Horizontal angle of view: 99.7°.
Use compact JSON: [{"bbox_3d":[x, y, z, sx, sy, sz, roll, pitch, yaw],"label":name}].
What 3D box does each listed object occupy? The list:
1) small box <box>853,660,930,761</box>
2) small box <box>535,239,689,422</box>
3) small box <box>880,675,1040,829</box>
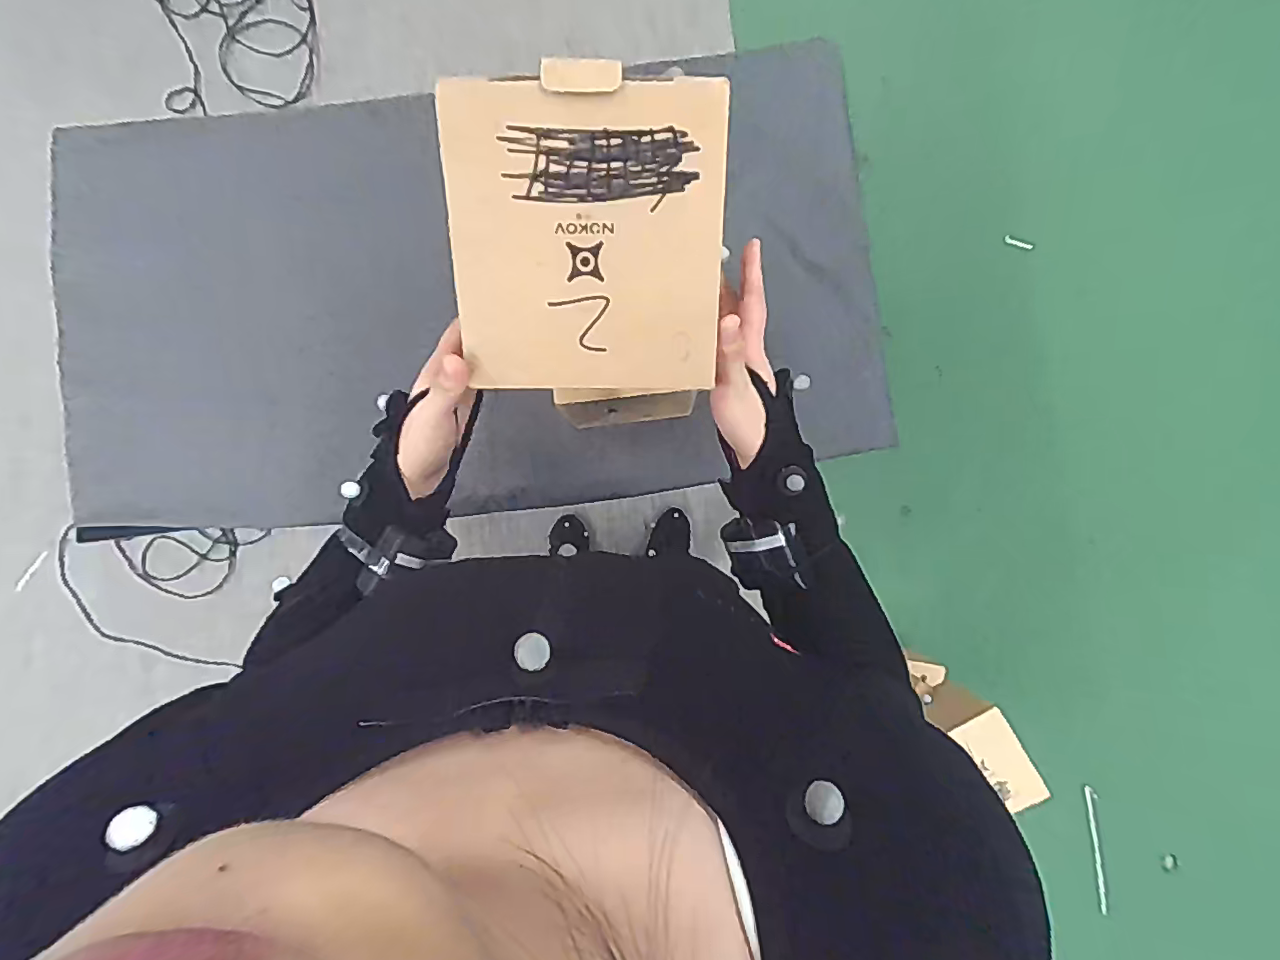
[{"bbox_3d":[0.609,0.524,1.202,0.179,0.176,0.168,31,91,3],"label":"small box"},{"bbox_3d":[-0.027,-0.174,0.689,0.168,0.176,0.179,-7,86,2],"label":"small box"},{"bbox_3d":[0.601,0.510,1.038,0.168,0.176,0.179,-29,86,2],"label":"small box"}]
